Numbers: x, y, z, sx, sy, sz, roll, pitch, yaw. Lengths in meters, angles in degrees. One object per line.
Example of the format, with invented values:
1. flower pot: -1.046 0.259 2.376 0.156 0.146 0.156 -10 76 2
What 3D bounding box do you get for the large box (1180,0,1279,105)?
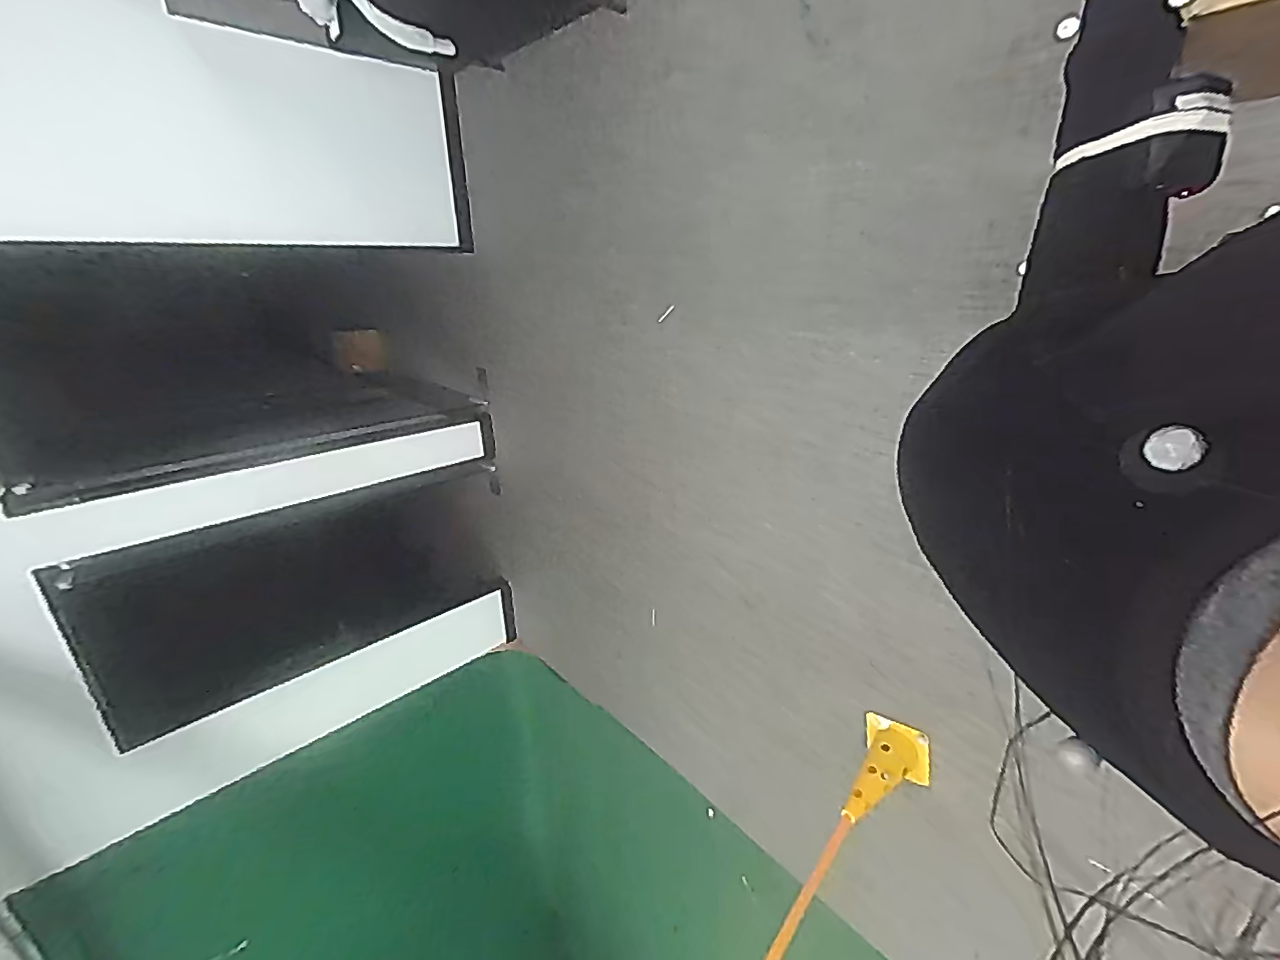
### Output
1. large box: 0.584 -0.436 0.265 0.408 0.320 0.320 14 115 40
